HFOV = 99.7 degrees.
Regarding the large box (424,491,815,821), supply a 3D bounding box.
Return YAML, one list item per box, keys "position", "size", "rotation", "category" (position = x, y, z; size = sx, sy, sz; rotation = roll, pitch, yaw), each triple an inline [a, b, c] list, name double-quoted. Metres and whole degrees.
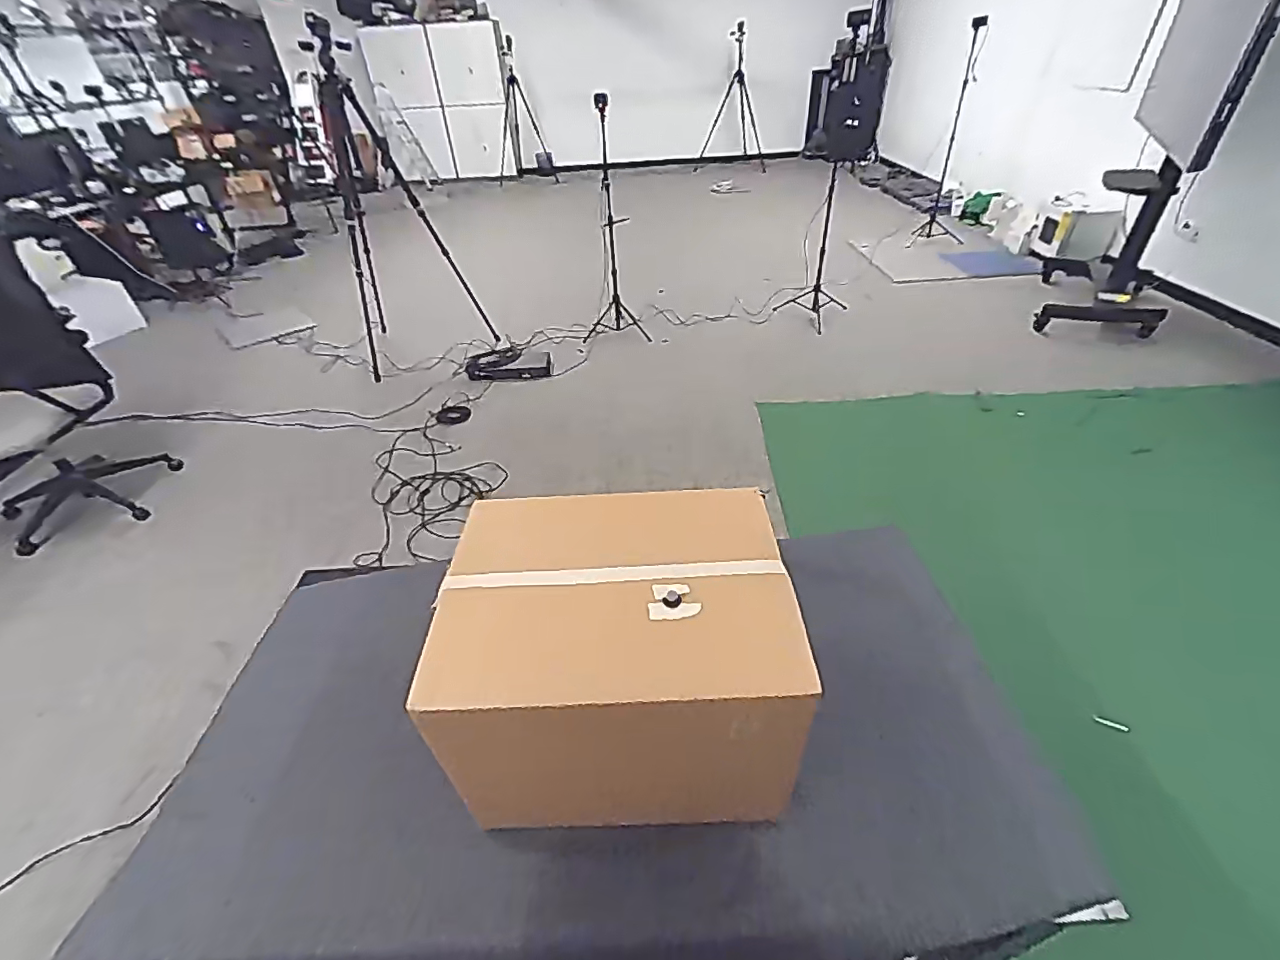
- position: [-0.021, 0.236, 0.746]
  size: [0.408, 0.320, 0.320]
  rotation: [-2, 39, 1]
  category: "large box"
